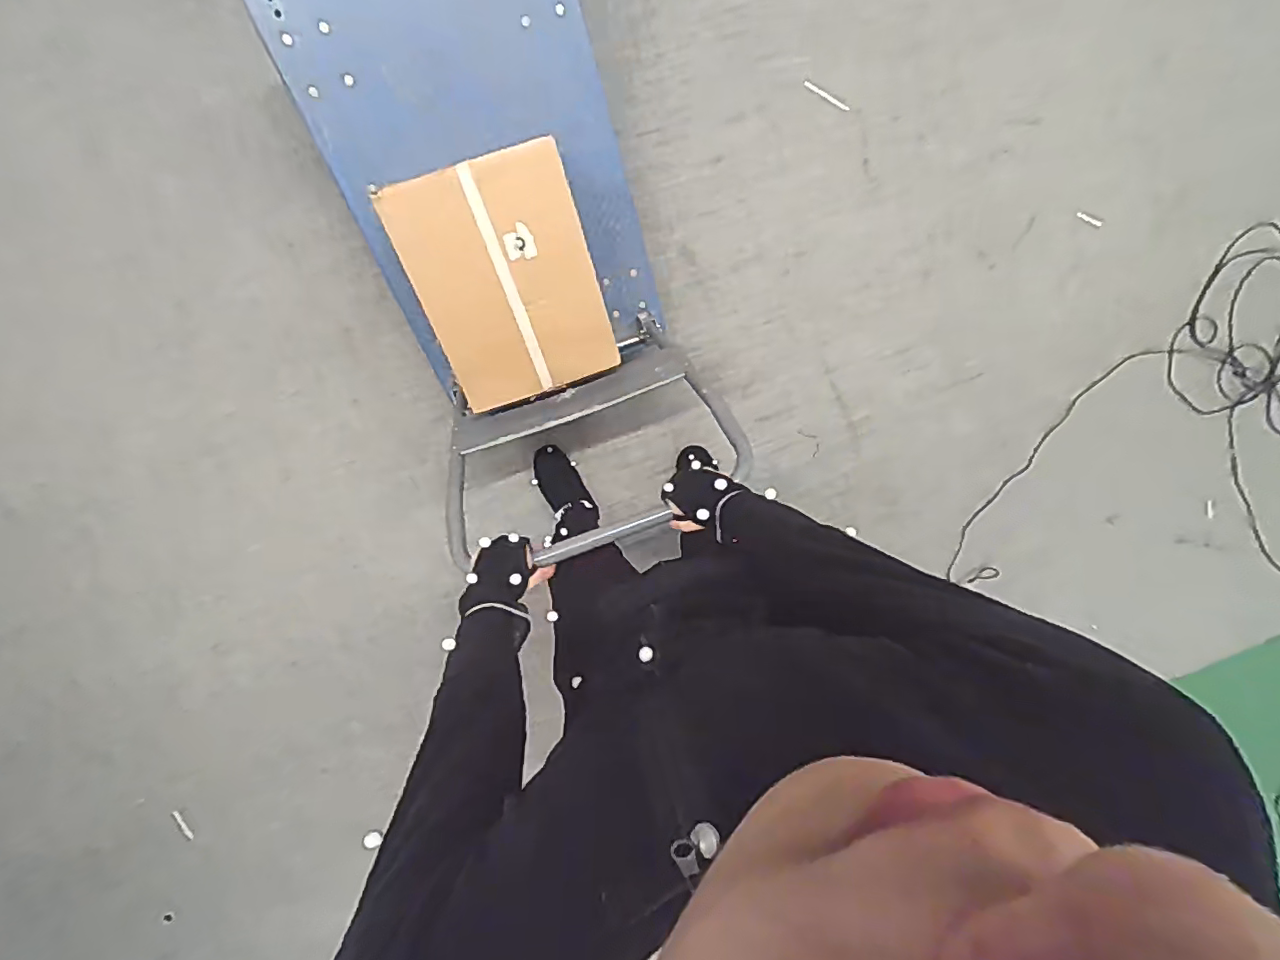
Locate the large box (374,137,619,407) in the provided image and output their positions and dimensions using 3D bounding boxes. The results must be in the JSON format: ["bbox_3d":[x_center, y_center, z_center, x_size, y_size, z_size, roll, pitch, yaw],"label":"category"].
[{"bbox_3d":[-0.266,-0.423,1.113,0.320,0.320,0.408,-20,120,-3],"label":"large box"}]
